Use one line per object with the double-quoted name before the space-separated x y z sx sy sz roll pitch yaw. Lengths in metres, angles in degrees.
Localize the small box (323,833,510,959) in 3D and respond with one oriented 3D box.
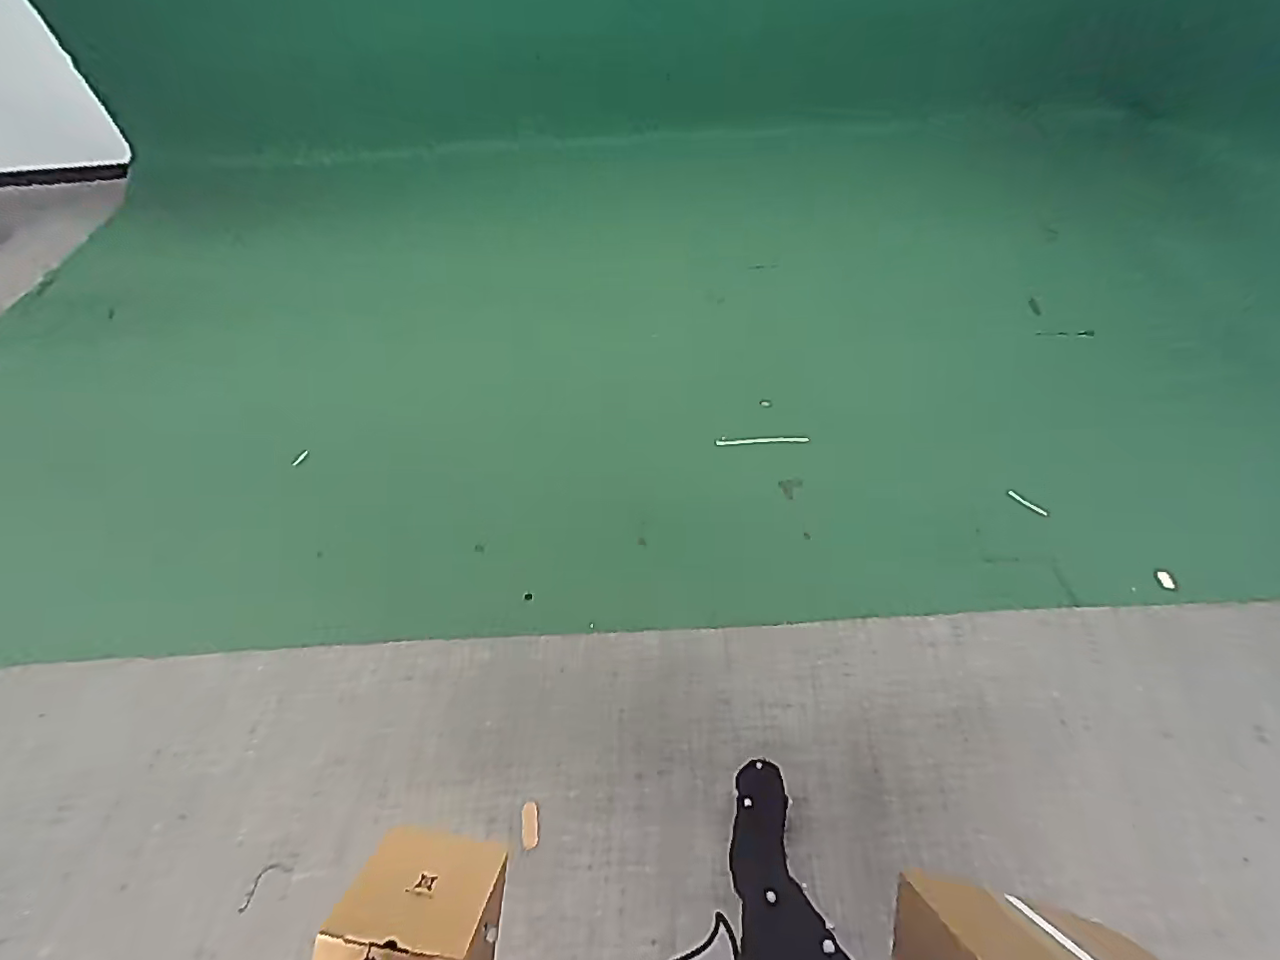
"small box" -0.276 0.587 0.667 0.168 0.179 0.176 9 92 2
